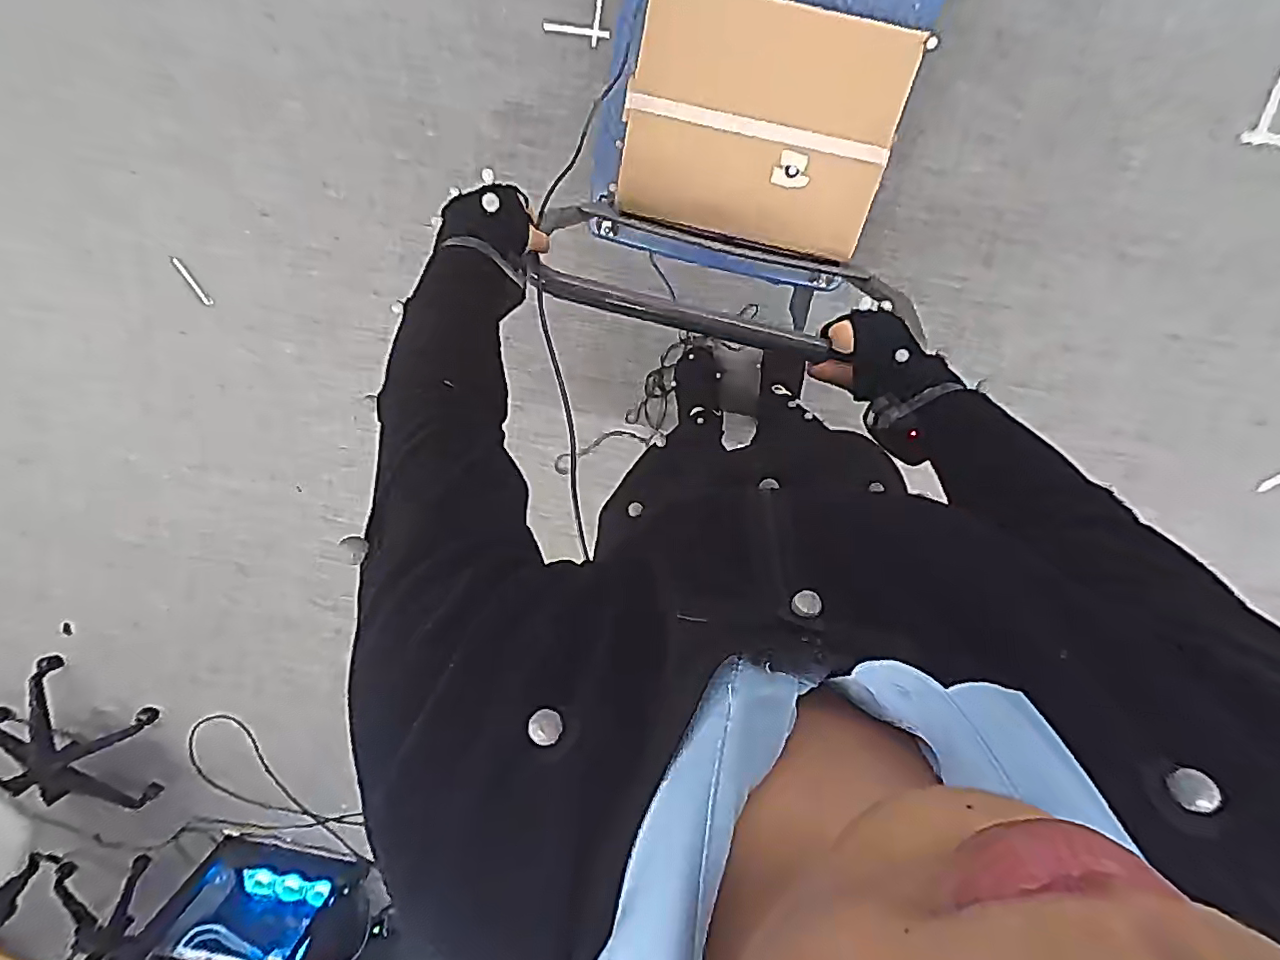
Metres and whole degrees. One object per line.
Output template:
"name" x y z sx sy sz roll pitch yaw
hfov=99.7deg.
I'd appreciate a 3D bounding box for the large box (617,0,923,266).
"large box" 0.193 -0.589 0.964 0.408 0.320 0.320 13 116 0
